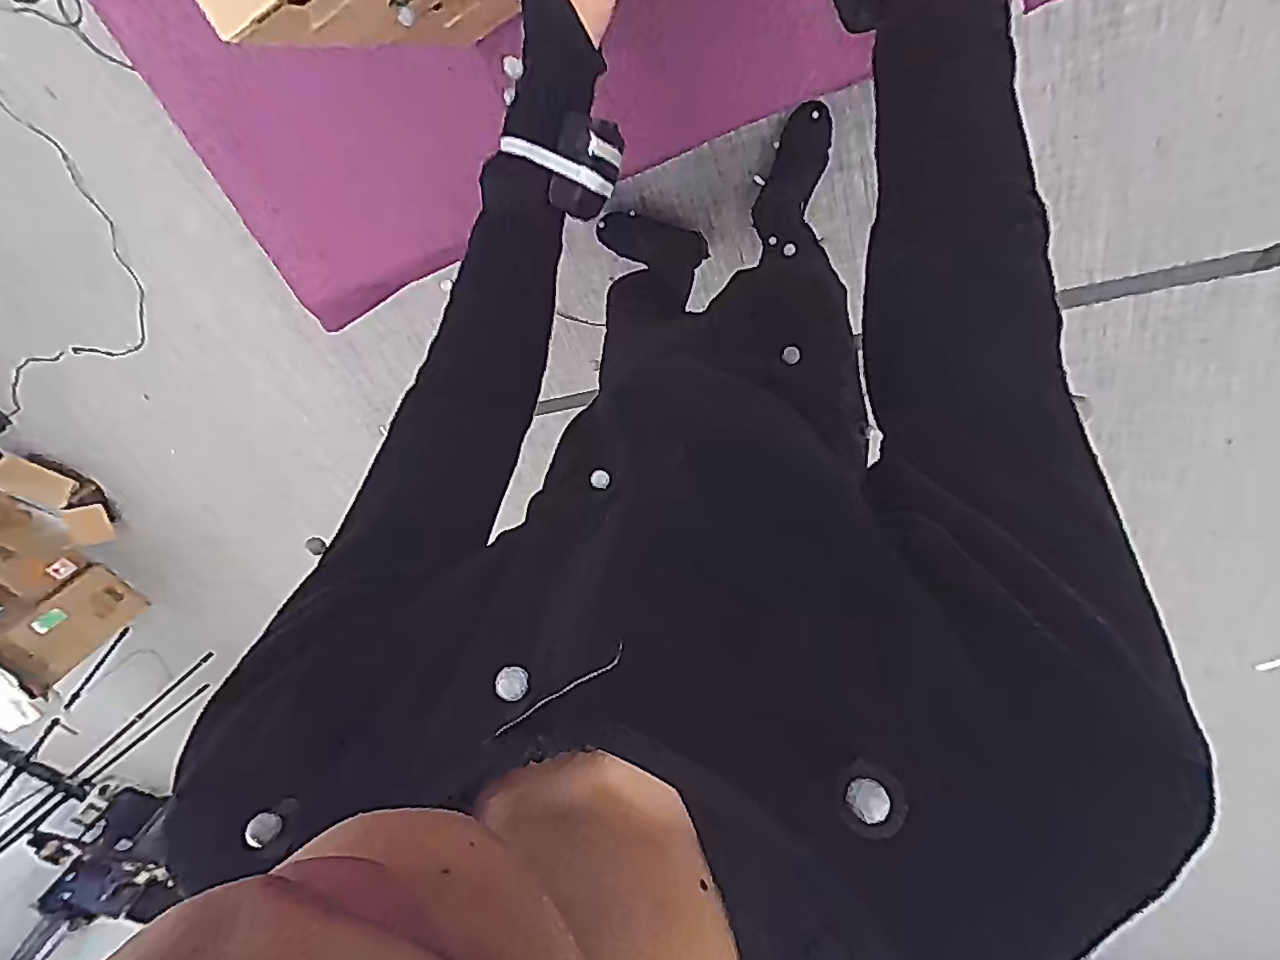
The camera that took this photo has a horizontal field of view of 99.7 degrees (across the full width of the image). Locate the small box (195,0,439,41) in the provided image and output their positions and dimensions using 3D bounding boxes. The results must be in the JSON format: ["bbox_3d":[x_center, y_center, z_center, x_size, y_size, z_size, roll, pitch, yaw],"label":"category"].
[{"bbox_3d":[-0.229,-0.434,0.365,0.168,0.176,0.179,-10,124,24],"label":"small box"}]

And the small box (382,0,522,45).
[{"bbox_3d":[-0.180,-0.534,0.486,0.168,0.176,0.179,-12,122,25],"label":"small box"}]
